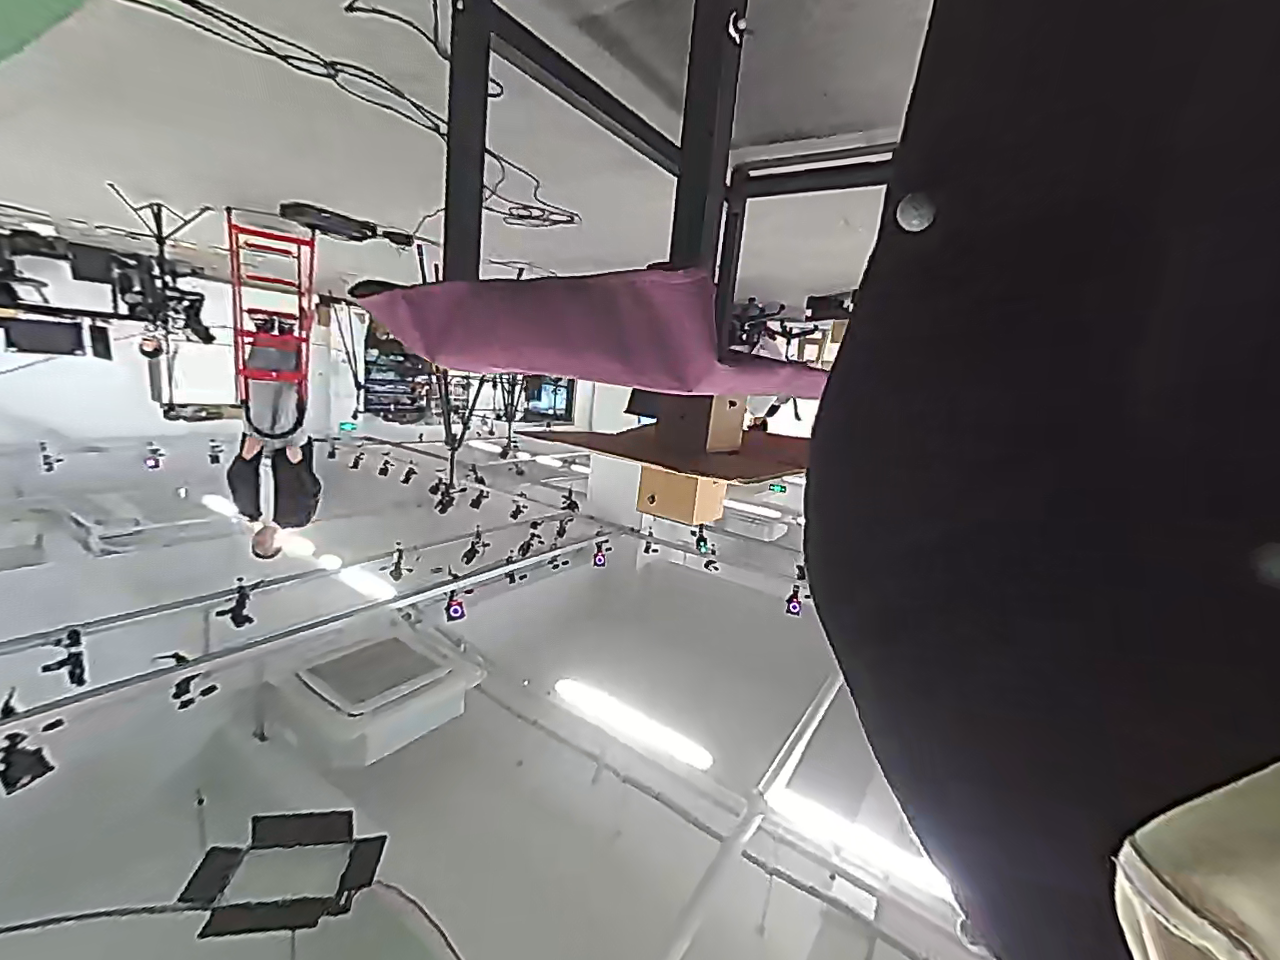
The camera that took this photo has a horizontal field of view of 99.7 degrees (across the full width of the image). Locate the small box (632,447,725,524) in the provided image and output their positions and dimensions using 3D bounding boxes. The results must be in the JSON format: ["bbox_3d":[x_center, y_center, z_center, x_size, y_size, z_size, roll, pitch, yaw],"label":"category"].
[{"bbox_3d":[0.104,0.006,1.420,0.179,0.176,0.168,13,-168,33],"label":"small box"}]
